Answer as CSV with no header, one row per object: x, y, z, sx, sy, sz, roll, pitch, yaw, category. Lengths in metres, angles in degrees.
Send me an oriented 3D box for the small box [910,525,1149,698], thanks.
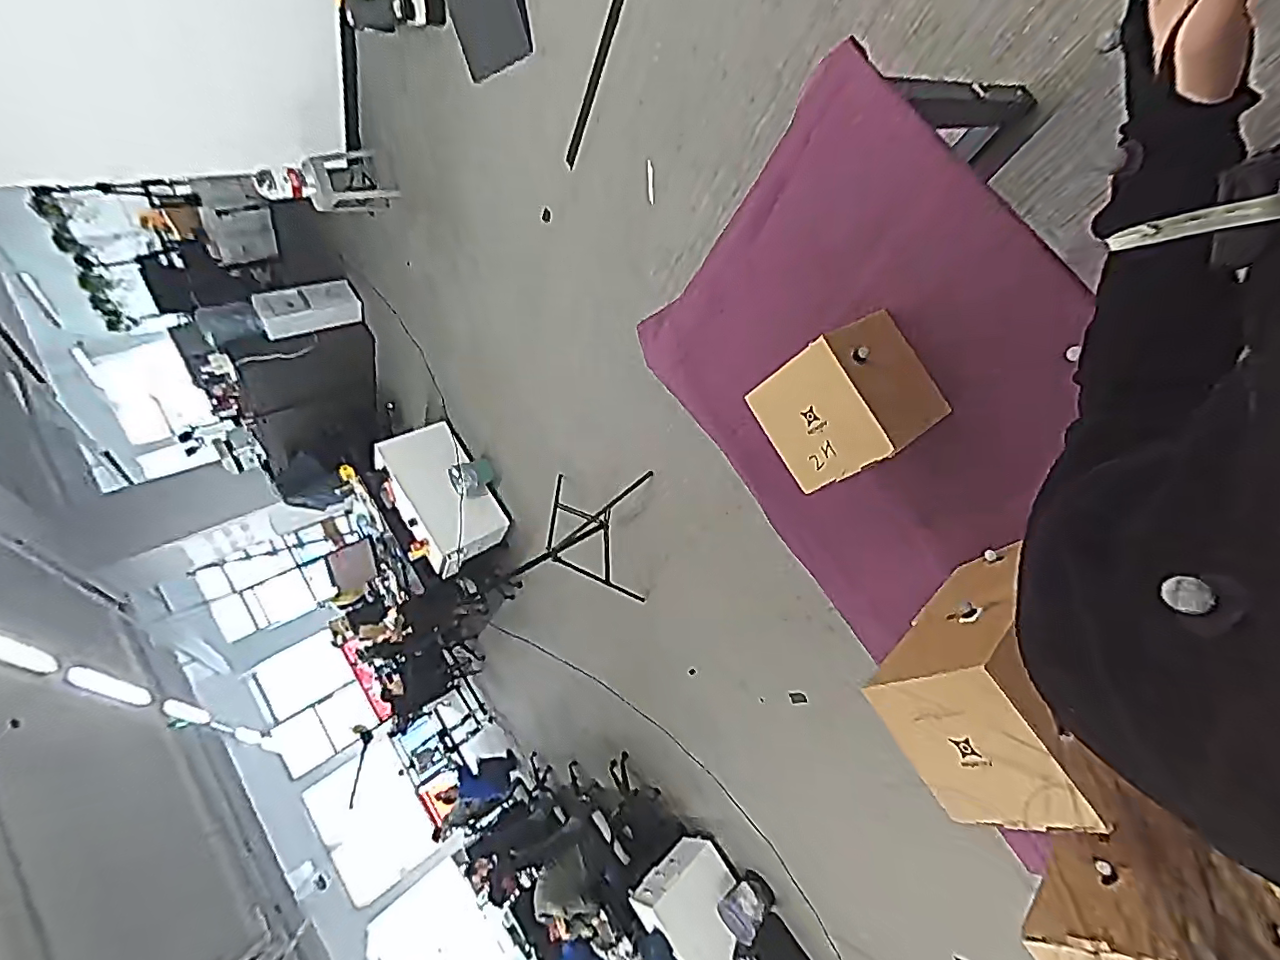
0.512,0.190,0.715,0.179,0.176,0.168,54,145,13,small box

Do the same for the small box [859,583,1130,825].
0.399,0.247,0.614,0.179,0.176,0.168,56,144,11,small box

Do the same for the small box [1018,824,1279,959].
0.561,0.496,0.571,0.179,0.176,0.168,52,145,15,small box

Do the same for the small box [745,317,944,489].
0.295,-0.117,0.786,0.179,0.176,0.168,59,147,4,small box
